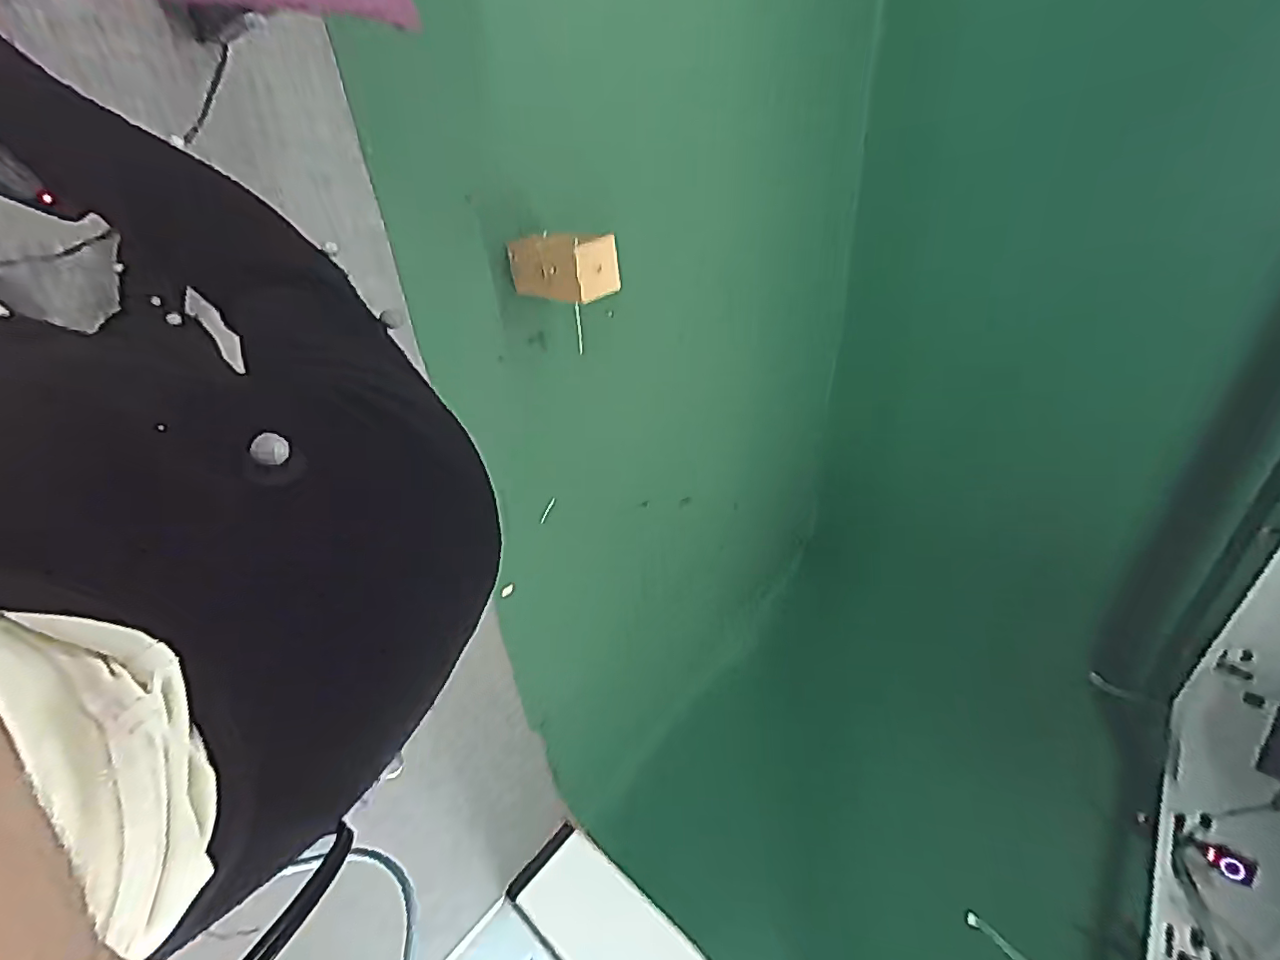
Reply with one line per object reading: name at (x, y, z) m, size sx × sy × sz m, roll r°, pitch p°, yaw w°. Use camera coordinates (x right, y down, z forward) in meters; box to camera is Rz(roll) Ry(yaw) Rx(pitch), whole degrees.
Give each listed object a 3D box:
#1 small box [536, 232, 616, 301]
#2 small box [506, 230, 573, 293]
small box at (-0.204, -0.691, 1.733) m, size 0.179 × 0.176 × 0.168 m, roll -36°, pitch 134°, yaw -35°
small box at (-0.330, -0.739, 1.822) m, size 0.179 × 0.176 × 0.168 m, roll -36°, pitch 133°, yaw -36°
